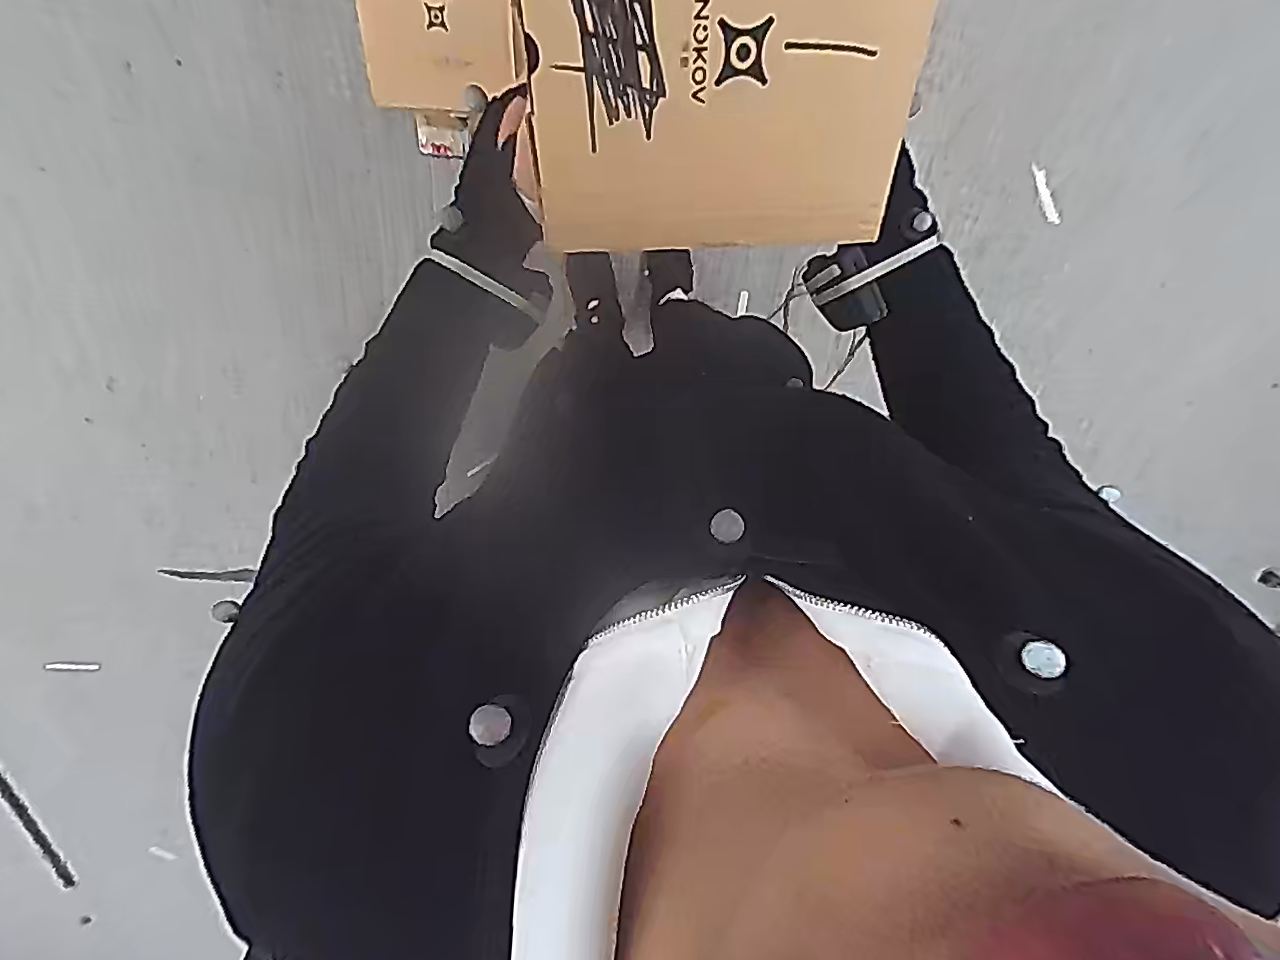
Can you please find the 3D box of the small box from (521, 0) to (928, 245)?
[{"bbox_3d":[0.035,-0.242,0.300,0.179,0.176,0.168,-2,132,0],"label":"small box"}]

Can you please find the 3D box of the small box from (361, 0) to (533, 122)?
[{"bbox_3d":[-0.221,-0.546,0.655,0.168,0.176,0.179,1,122,-3],"label":"small box"}]
